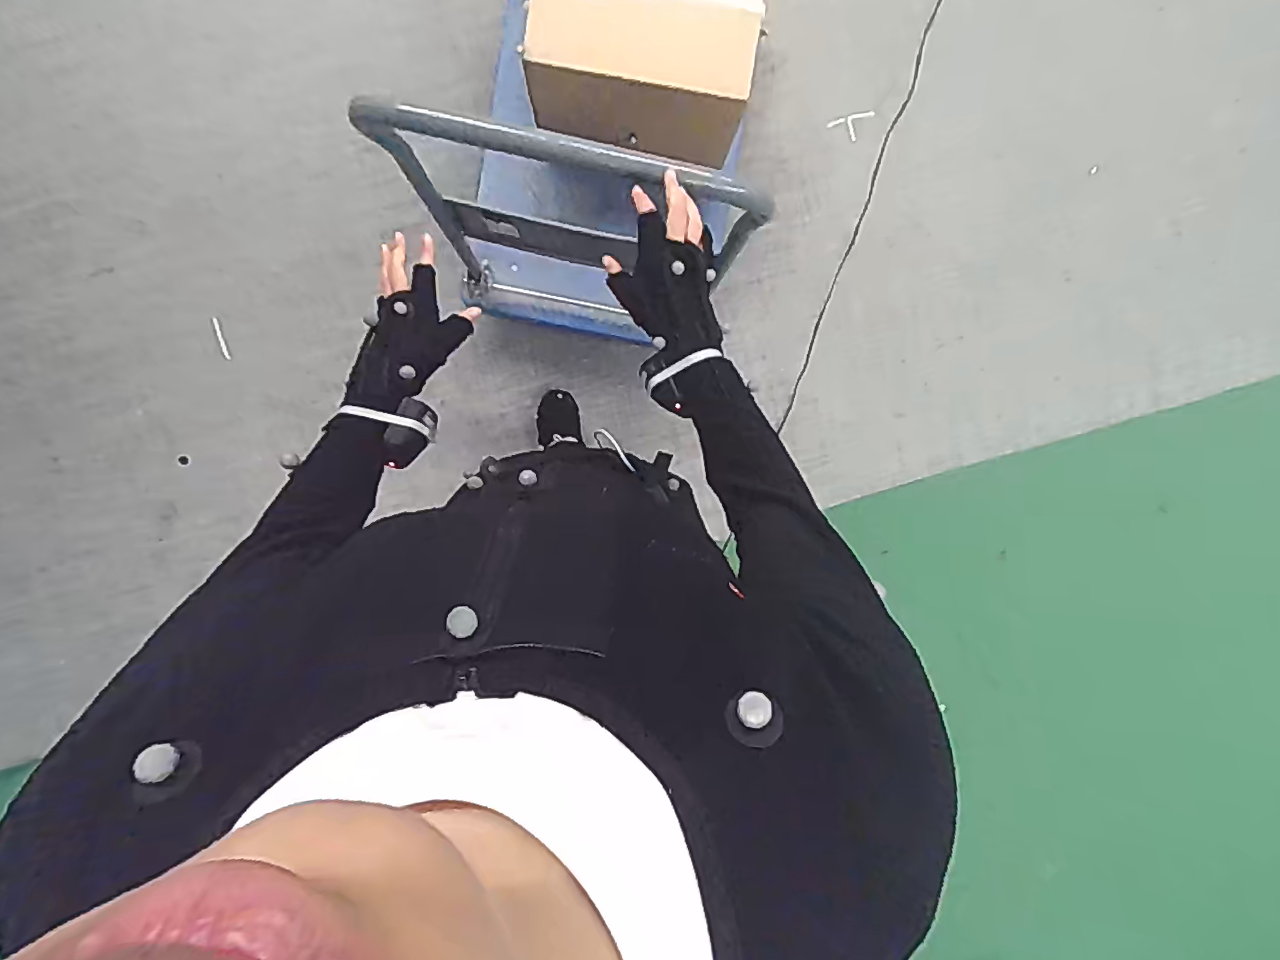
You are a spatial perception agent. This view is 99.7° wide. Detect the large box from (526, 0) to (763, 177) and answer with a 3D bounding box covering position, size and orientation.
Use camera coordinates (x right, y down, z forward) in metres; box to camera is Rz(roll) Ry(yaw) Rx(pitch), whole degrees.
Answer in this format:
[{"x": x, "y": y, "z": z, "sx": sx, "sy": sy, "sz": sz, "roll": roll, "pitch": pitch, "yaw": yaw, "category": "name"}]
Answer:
[{"x": 0.014, "y": -0.861, "z": 1.087, "sx": 0.408, "sy": 0.320, "sz": 0.320, "roll": 9, "pitch": 93, "yaw": -2, "category": "large box"}]
